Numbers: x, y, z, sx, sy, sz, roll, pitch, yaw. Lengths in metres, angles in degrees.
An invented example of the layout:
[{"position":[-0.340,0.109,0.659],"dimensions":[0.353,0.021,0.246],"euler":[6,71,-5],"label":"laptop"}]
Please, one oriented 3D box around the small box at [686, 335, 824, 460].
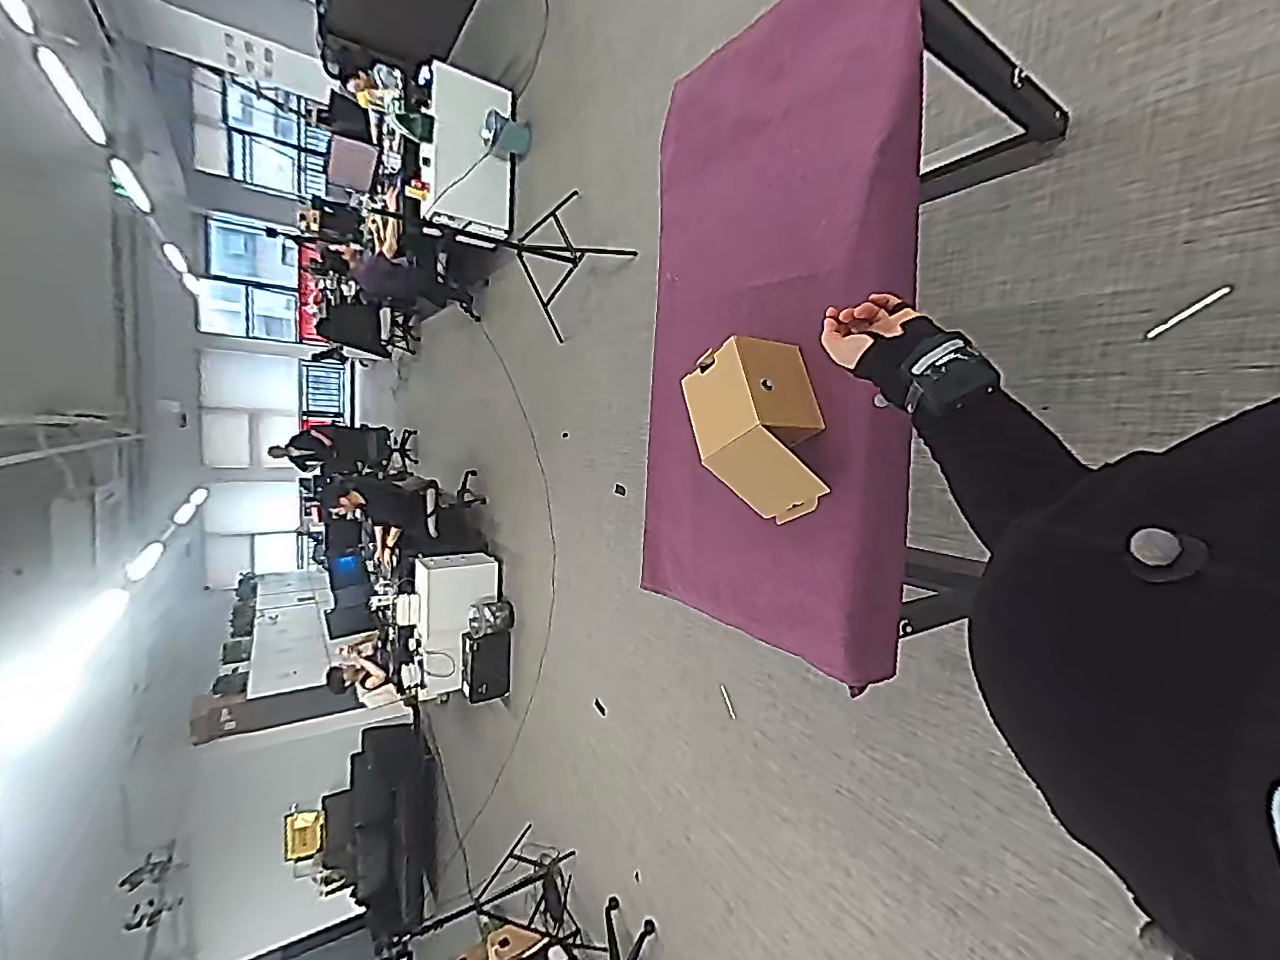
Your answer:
[{"position":[0.216,-0.147,1.016],"dimensions":[0.168,0.176,0.179],"euler":[-35,61,52],"label":"small box"}]
